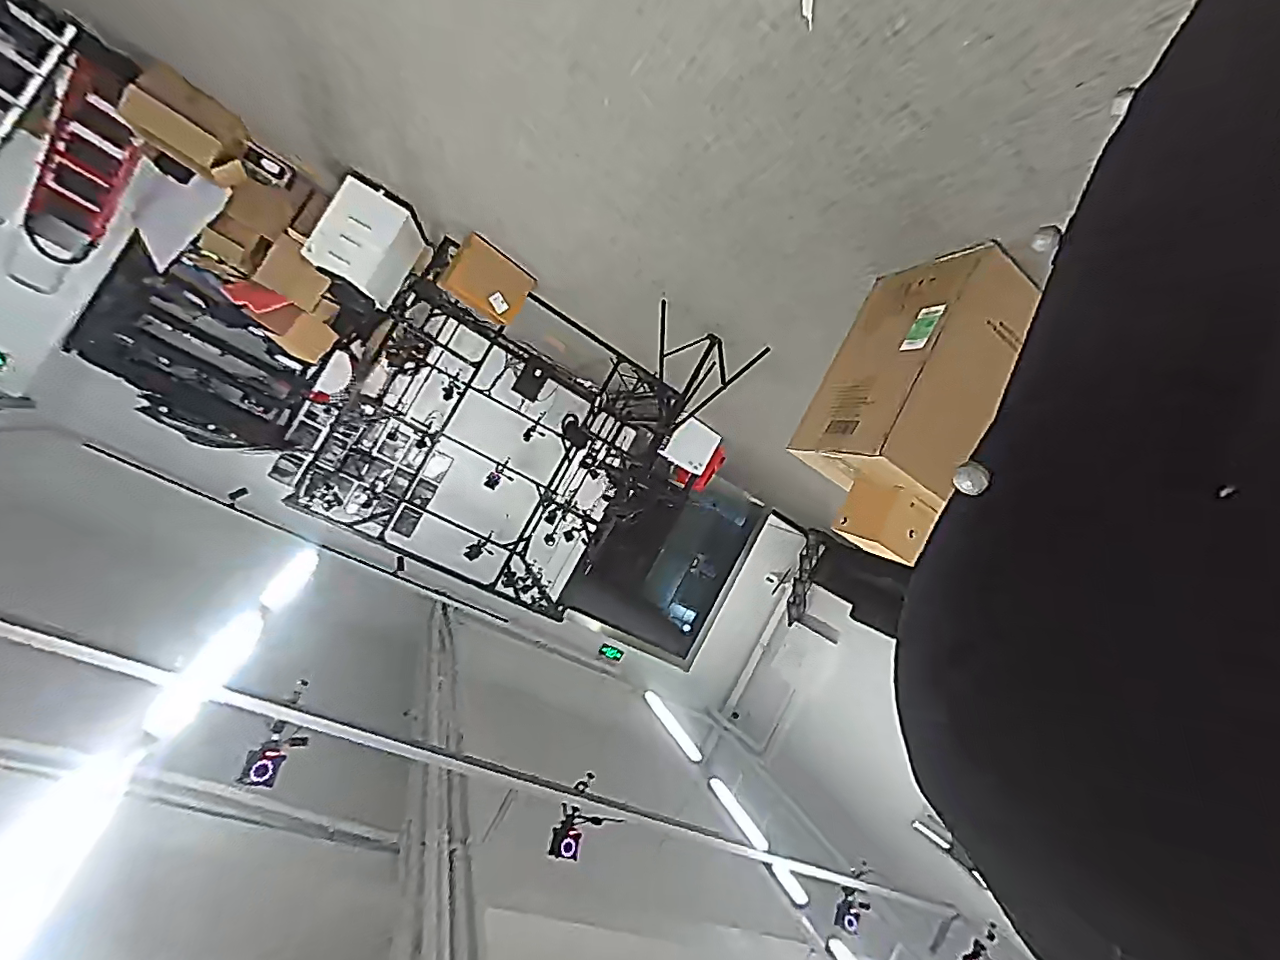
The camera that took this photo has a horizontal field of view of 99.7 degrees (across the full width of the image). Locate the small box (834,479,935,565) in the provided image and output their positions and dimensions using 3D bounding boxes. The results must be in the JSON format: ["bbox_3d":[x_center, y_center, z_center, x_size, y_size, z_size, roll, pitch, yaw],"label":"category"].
[{"bbox_3d":[0.688,0.111,1.506,0.168,0.176,0.179,29,177,-22],"label":"small box"}]
